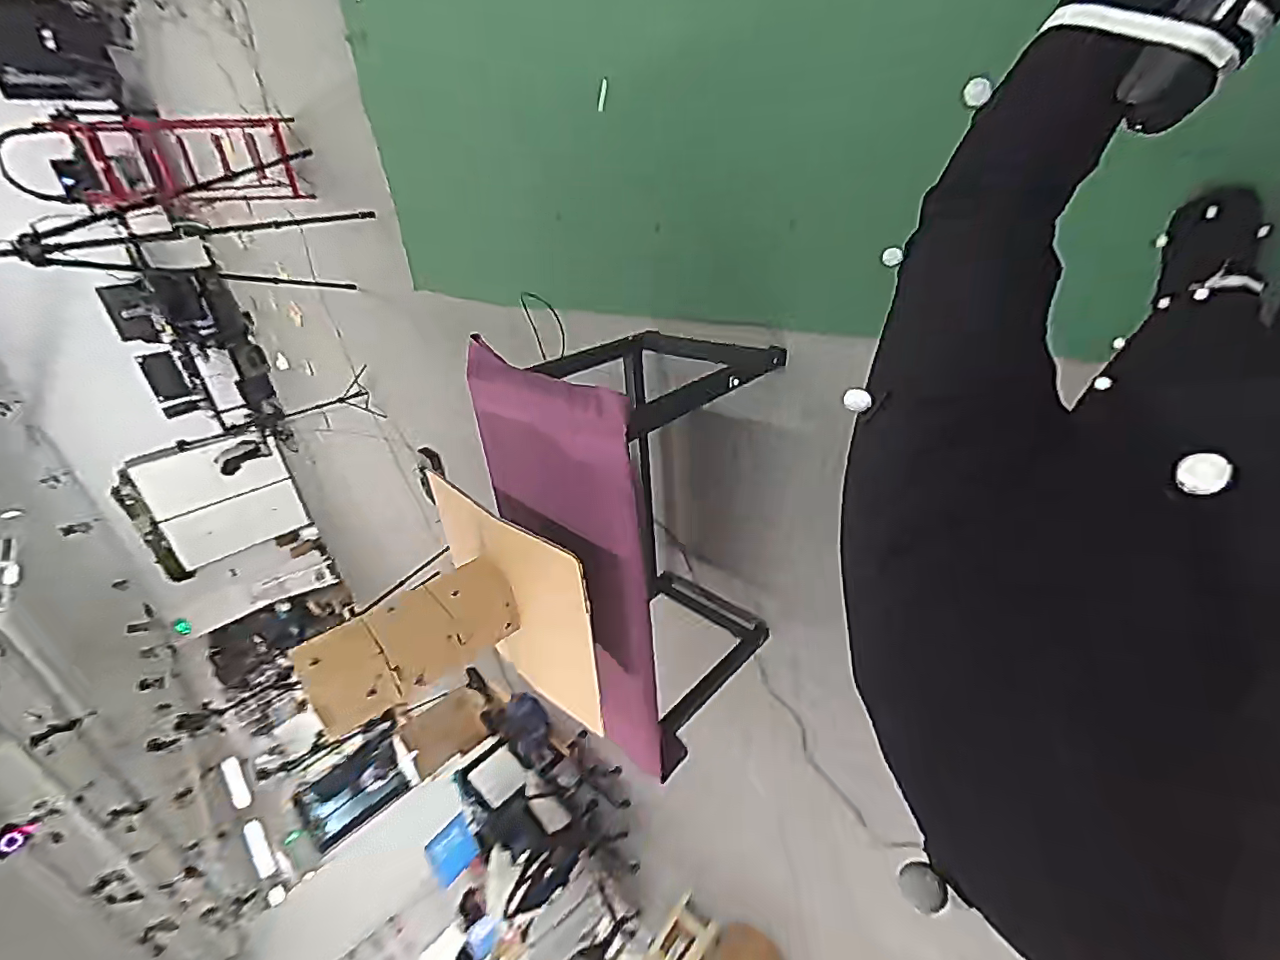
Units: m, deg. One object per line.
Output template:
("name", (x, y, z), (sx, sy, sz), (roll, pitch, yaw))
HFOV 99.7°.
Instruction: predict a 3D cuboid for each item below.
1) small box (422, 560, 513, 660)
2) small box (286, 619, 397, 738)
("small box", (-0.458, 0.344, 1.468), (0.179, 0.176, 0.168), (26, 130, 42))
("small box", (-0.703, 0.458, 1.283), (0.179, 0.176, 0.168), (23, 128, 43))
